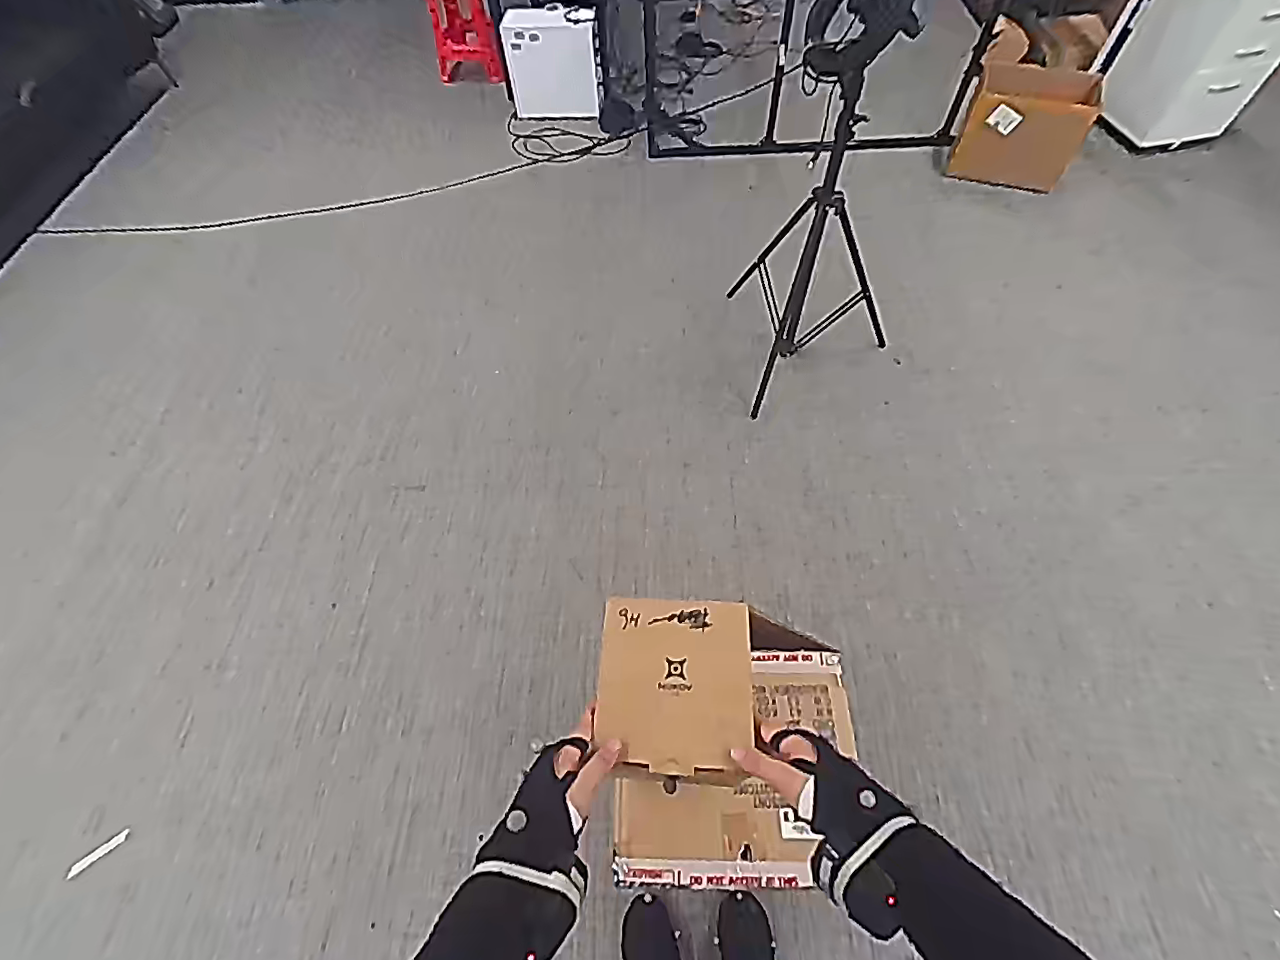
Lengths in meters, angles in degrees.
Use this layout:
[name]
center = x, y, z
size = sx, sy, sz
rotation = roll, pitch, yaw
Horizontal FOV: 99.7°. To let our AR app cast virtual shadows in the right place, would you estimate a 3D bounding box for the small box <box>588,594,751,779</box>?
[small box]
center = 0.039, 0.251, 0.645
size = 0.168, 0.176, 0.179
rotation = 2, 58, 4
